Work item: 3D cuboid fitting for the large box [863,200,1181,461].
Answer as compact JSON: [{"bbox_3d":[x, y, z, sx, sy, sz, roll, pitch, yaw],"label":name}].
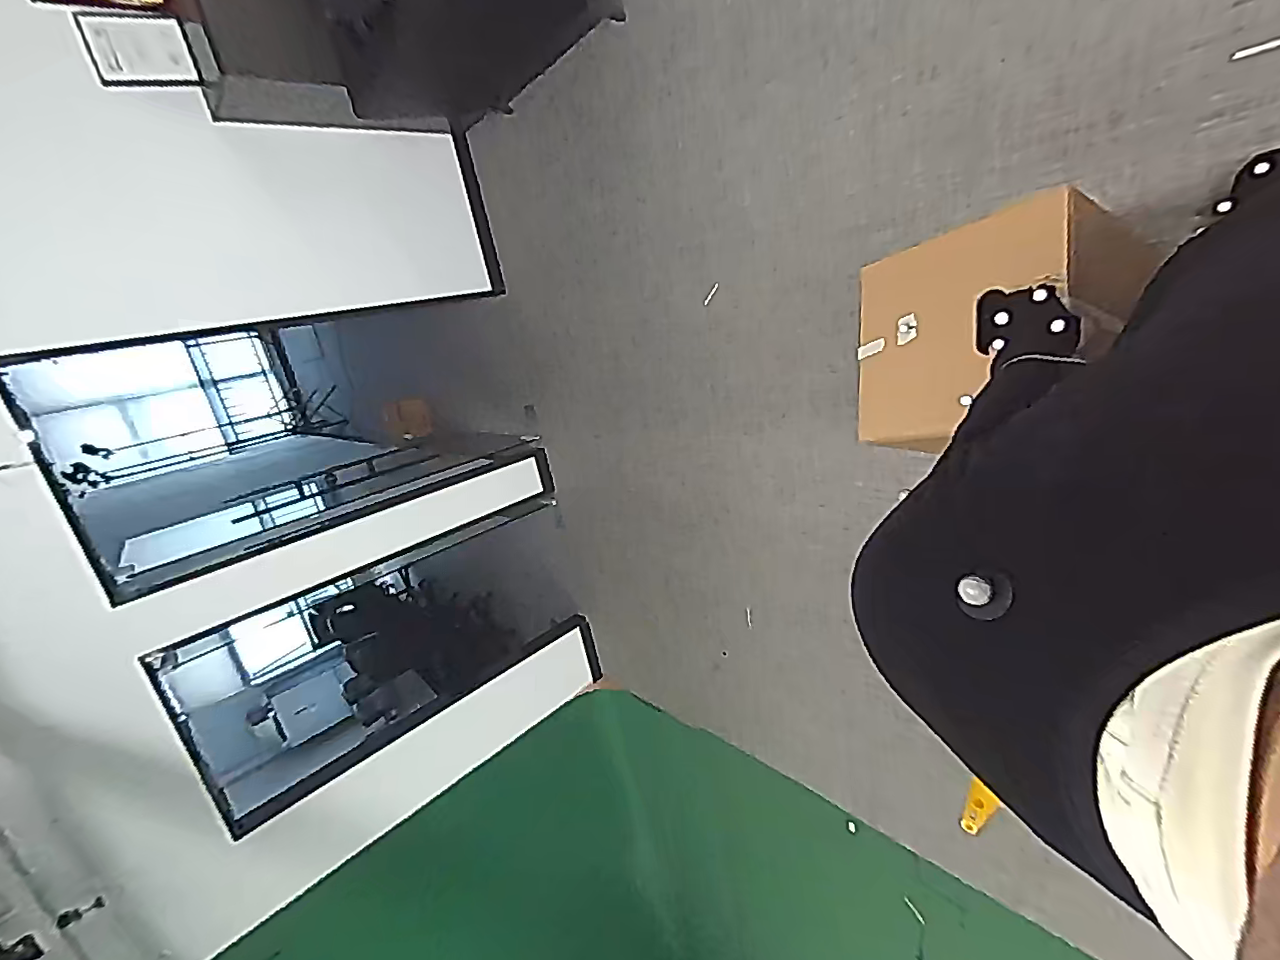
[{"bbox_3d":[0.637,-0.202,0.919,0.320,0.408,0.320,-2,86,59],"label":"large box"}]
